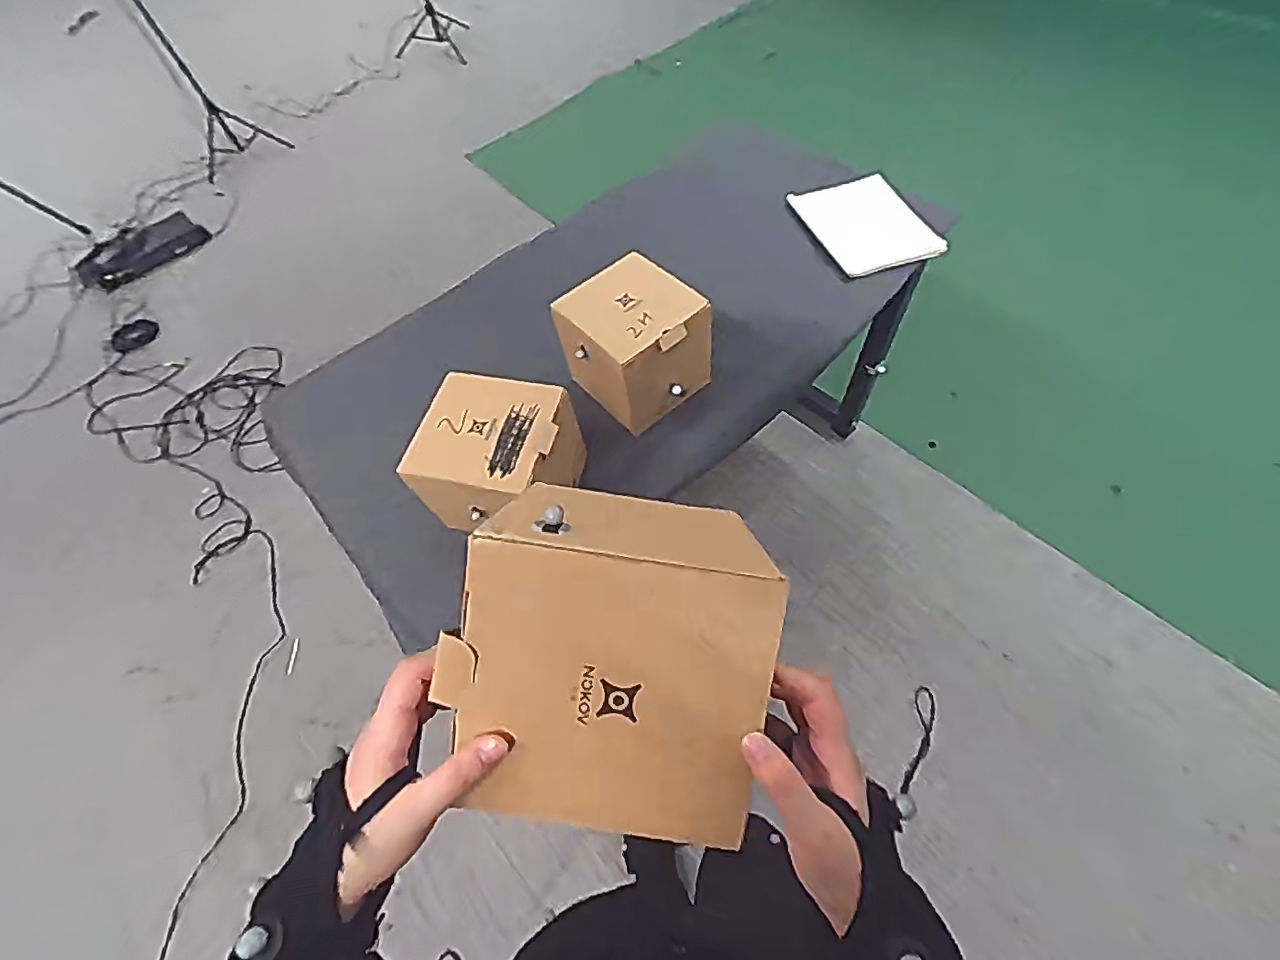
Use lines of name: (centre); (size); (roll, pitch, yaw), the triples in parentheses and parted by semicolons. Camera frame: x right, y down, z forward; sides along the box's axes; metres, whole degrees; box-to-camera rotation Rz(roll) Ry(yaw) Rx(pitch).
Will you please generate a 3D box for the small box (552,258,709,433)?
small box: (-0.010, -0.207, 0.853); (0.168, 0.176, 0.179); (-39, 62, -15)
